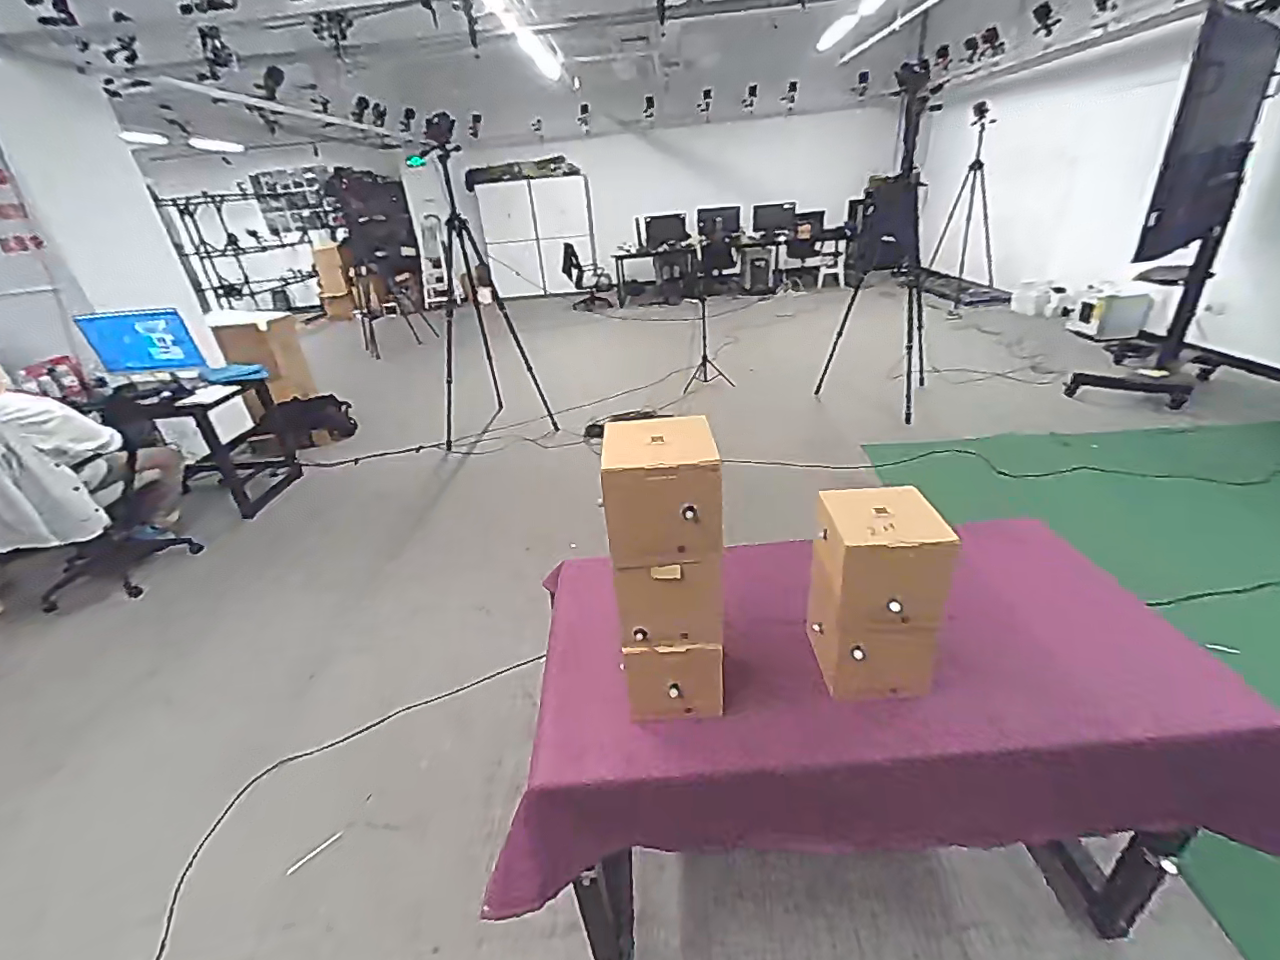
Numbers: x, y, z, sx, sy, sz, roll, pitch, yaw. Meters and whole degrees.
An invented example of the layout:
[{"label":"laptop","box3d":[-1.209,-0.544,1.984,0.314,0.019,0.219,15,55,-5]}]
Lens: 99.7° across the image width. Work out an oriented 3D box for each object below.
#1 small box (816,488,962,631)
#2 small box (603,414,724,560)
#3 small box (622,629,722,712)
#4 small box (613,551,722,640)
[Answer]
[{"label":"small box","box3d":[0.399,0.129,0.904,0.168,0.176,0.179,-3,28,5]},{"label":"small box","box3d":[0.039,0.012,0.834,0.168,0.176,0.179,-3,28,2]},{"label":"small box","box3d":[0.060,0.302,0.986,0.168,0.176,0.179,-3,29,3]},{"label":"small box","box3d":[0.050,0.154,0.914,0.168,0.176,0.179,-3,27,4]}]
